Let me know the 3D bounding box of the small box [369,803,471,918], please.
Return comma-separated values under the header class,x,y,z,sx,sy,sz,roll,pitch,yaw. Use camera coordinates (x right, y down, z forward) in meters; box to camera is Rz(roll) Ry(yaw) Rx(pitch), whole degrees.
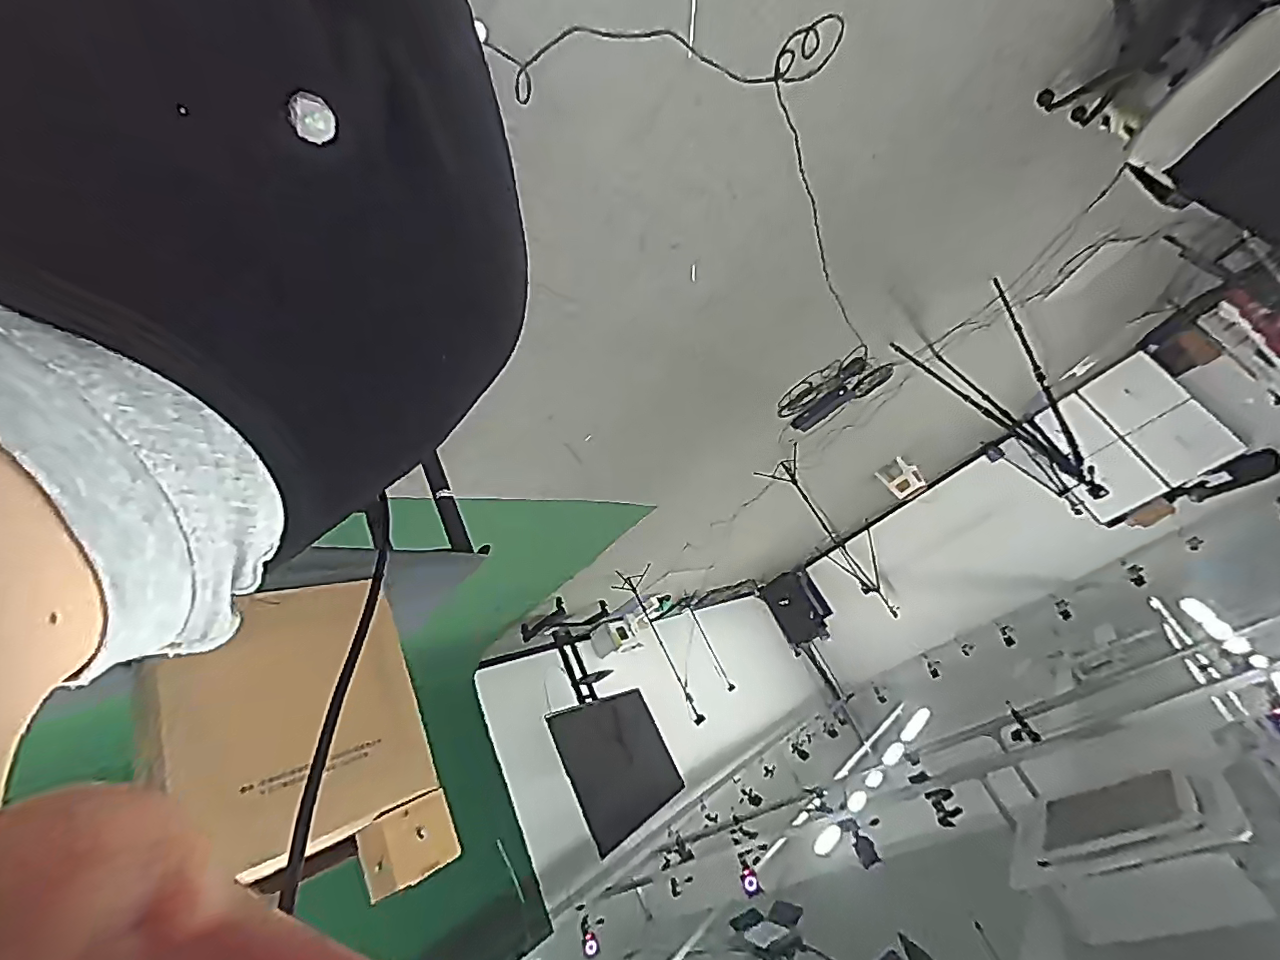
class,x,y,z,sx,sy,sz,roll,pitch,yaw
small box,-0.564,0.953,1.368,0.168,0.176,0.179,1,142,-48
